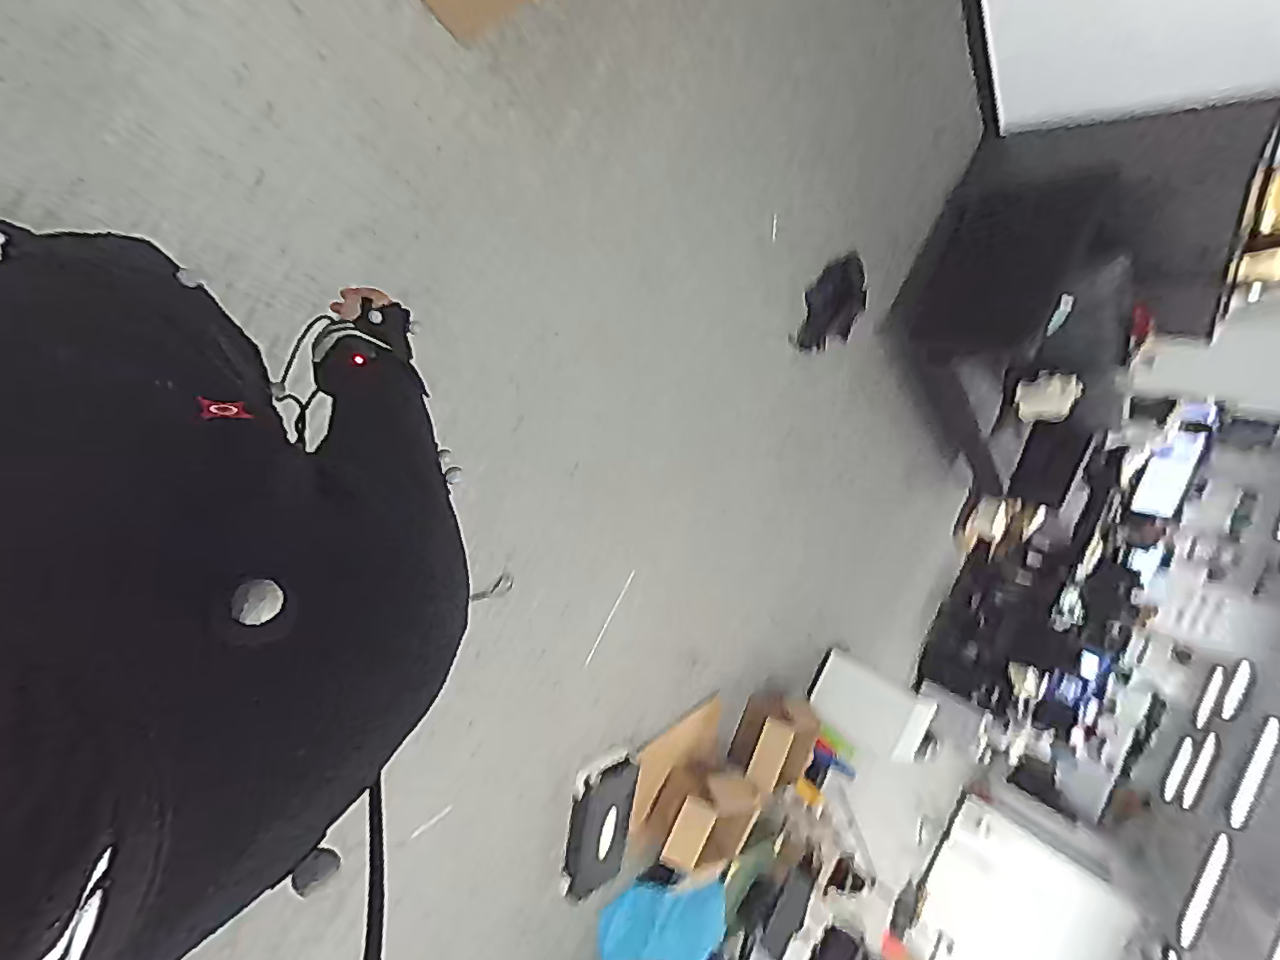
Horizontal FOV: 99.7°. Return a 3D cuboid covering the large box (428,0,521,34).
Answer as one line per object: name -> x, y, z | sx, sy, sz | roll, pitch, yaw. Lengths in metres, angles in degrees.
large box -> -0.345, -1.128, 0.948 | 0.408, 0.320, 0.320 | 31, 86, -47
